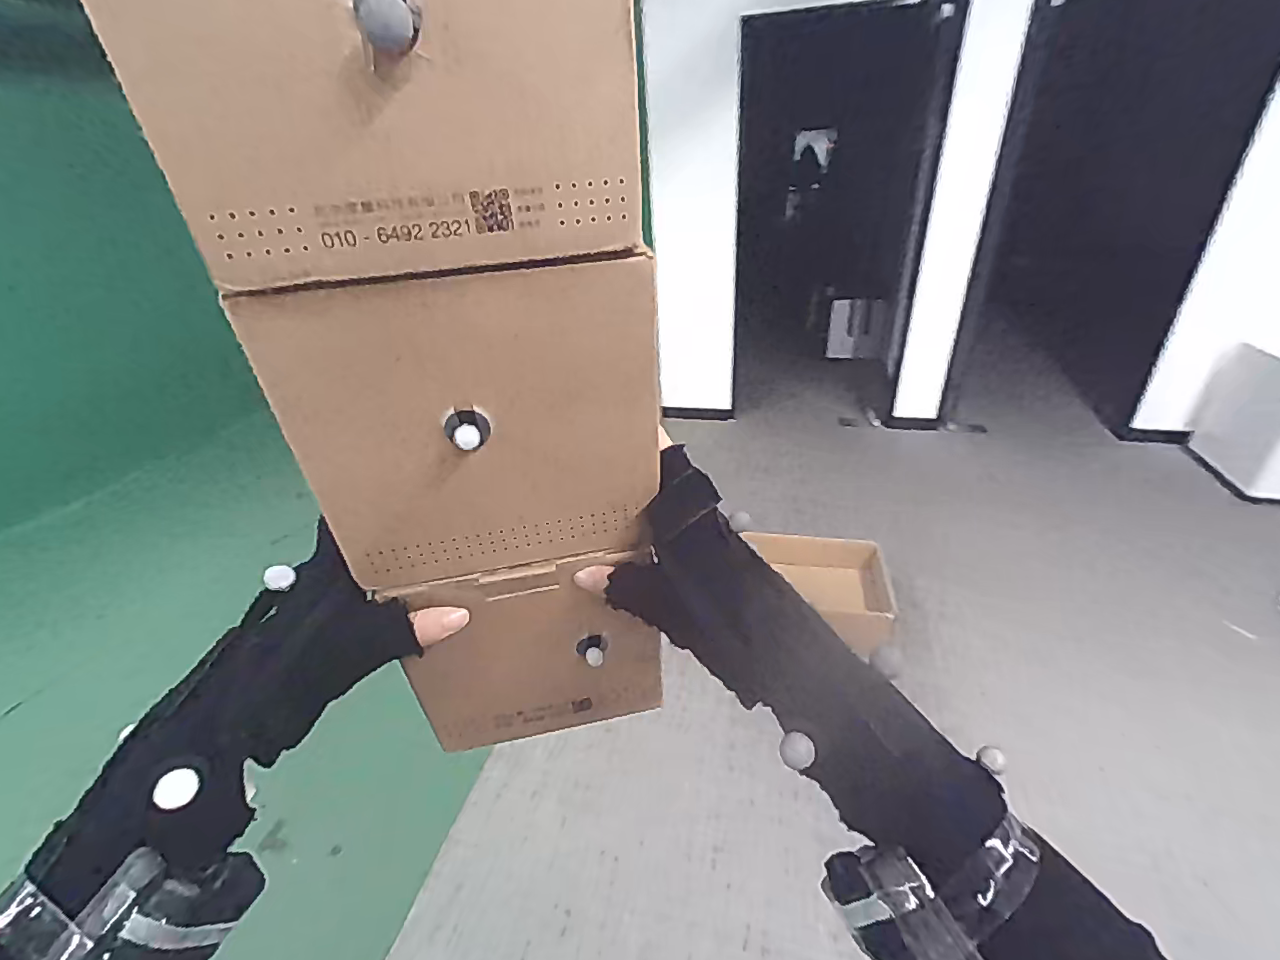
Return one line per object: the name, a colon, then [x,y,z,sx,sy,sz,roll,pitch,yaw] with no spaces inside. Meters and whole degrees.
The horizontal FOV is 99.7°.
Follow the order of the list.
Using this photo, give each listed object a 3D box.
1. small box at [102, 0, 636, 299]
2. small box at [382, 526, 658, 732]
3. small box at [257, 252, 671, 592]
small box: [-0.101,-0.189,0.247,0.168,0.176,0.179,-10,36,-10]
small box: [-0.082,0.077,0.437,0.168,0.176,0.179,-9,35,-7]
small box: [-0.088,-0.056,0.341,0.179,0.176,0.168,-10,36,-11]
